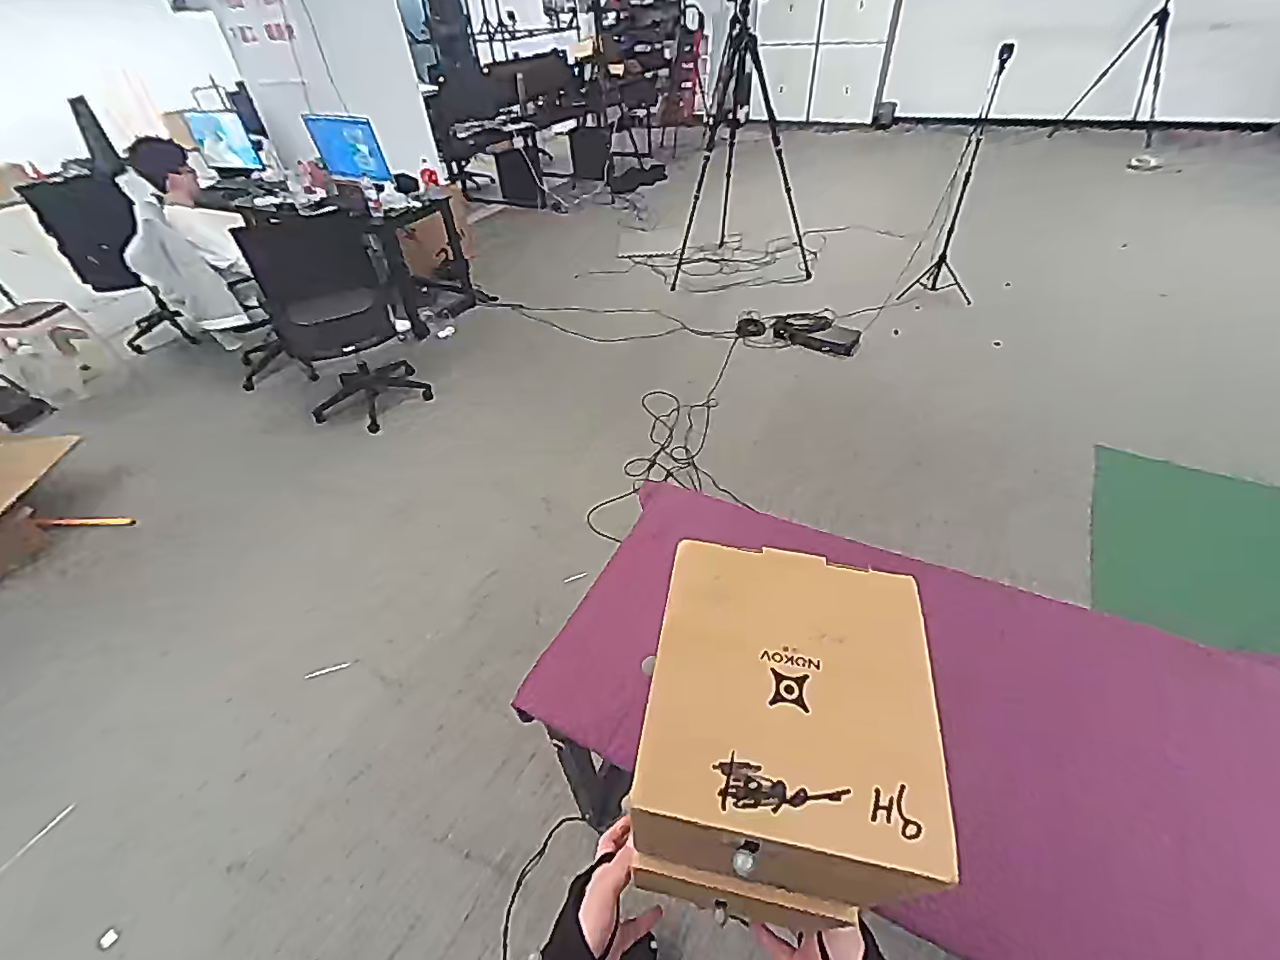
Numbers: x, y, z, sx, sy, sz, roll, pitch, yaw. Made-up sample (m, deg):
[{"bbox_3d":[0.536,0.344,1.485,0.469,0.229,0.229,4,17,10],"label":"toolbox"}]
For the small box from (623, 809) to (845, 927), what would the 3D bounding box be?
[{"bbox_3d":[0.087,0.290,0.507,0.168,0.176,0.179,9,50,9],"label":"small box"}]

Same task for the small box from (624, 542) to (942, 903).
[{"bbox_3d":[0.088,0.174,0.390,0.168,0.176,0.179,8,49,9],"label":"small box"}]
